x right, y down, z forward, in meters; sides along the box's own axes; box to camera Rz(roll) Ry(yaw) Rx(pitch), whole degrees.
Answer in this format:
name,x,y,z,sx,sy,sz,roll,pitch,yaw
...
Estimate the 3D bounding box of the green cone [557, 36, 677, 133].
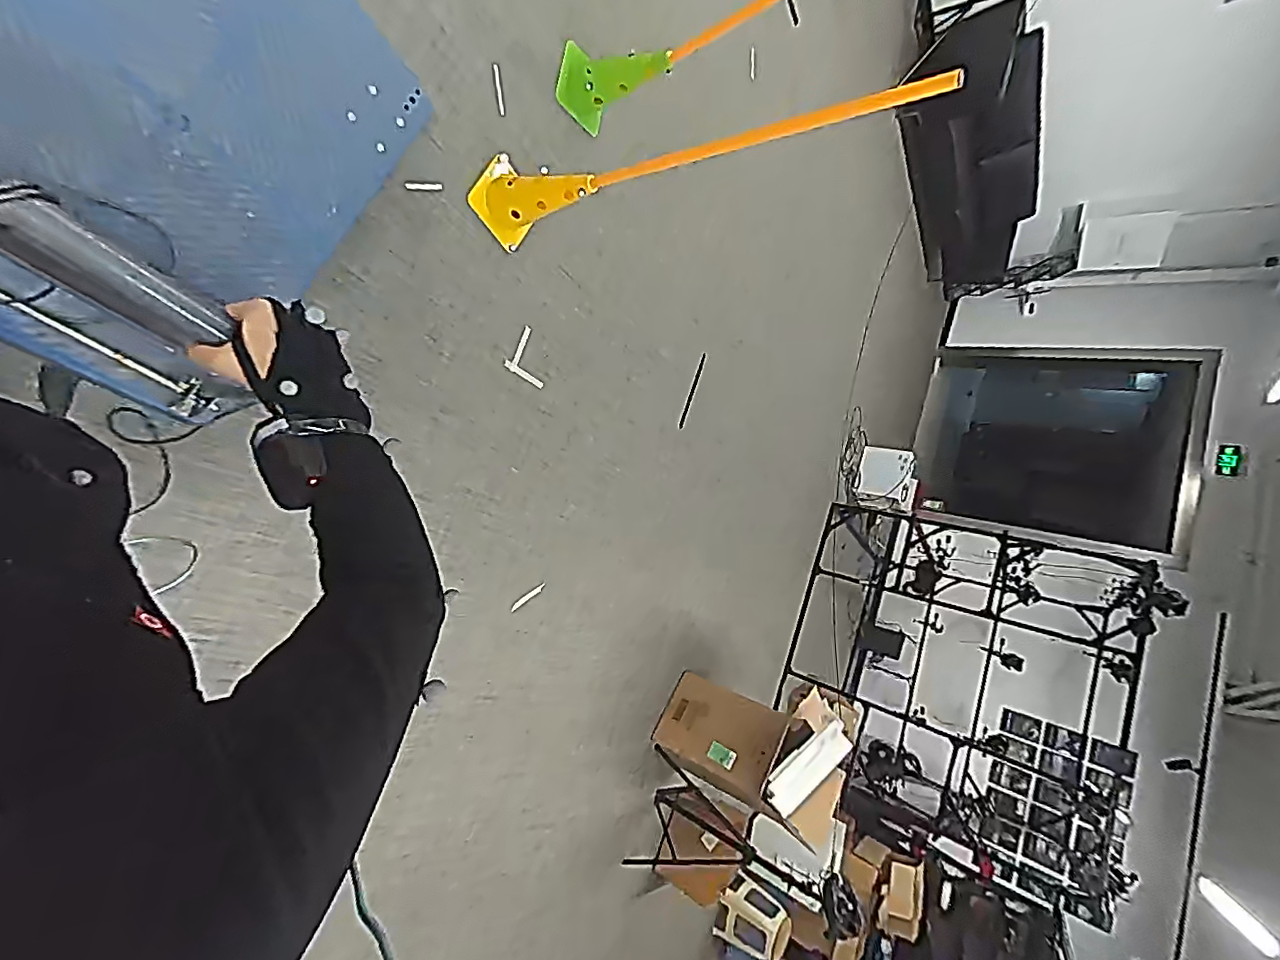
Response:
name,x,y,z,sx,sy,sz,roll,pitch,yaw
green cone,-0.047,-1.238,1.641,0.200,0.368,0.202,12,92,-54
